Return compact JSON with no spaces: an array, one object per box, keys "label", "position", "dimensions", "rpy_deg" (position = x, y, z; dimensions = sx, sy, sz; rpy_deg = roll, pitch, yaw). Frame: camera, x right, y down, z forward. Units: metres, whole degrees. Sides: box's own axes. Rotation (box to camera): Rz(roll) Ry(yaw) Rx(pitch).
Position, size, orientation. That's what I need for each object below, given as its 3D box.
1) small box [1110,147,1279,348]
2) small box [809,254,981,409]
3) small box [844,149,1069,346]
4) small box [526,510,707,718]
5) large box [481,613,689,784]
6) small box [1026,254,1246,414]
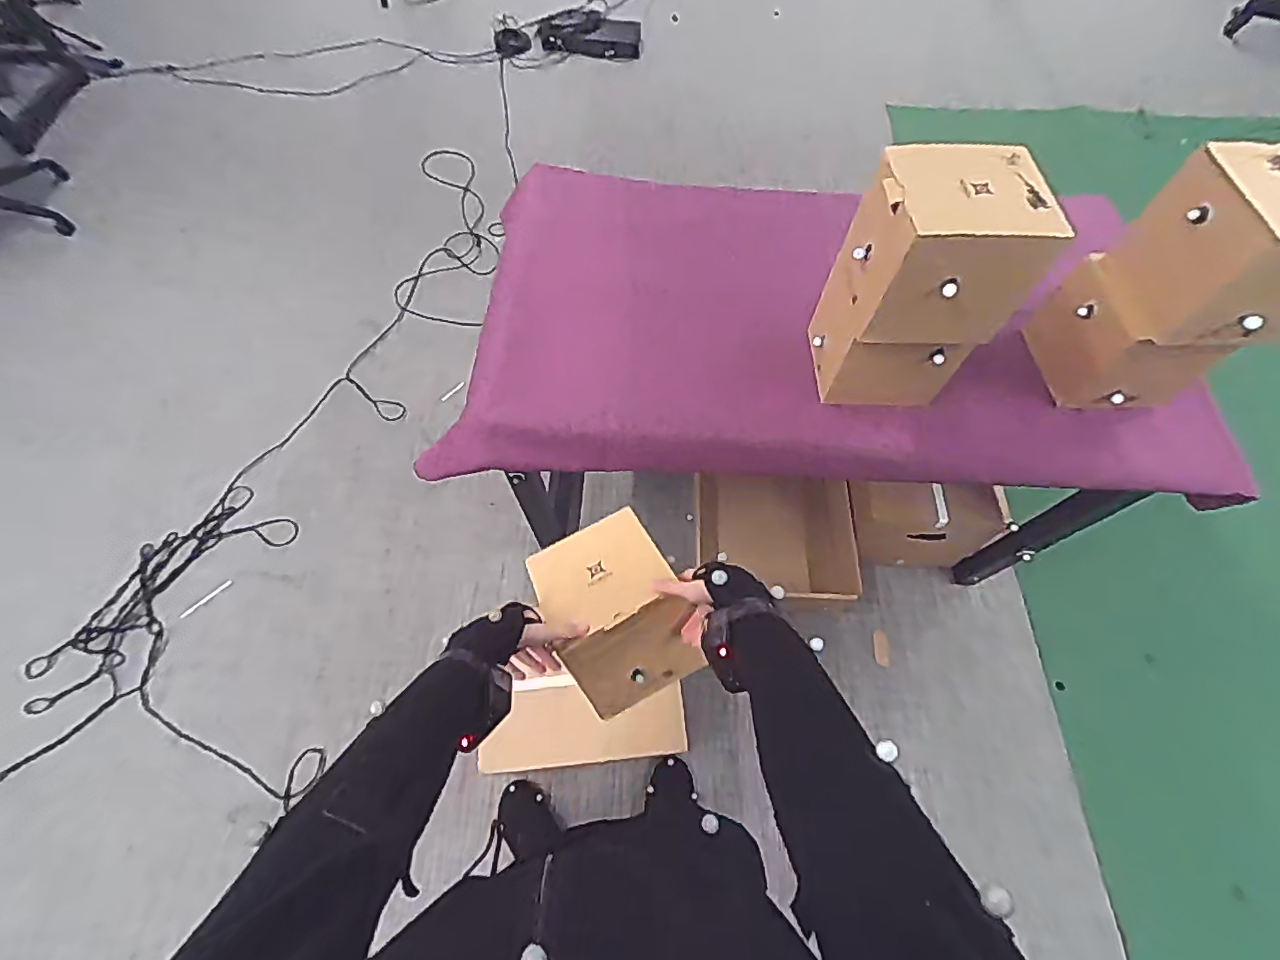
[{"label":"small box","position":[0.759,-0.289,0.682],"dimensions":[0.168,0.176,0.179],"rpy_deg":[-1,61,2]},{"label":"small box","position":[0.378,-0.223,0.835],"dimensions":[0.179,0.176,0.168],"rpy_deg":[1,61,1]},{"label":"small box","position":[0.372,-0.285,0.682],"dimensions":[0.179,0.176,0.168],"rpy_deg":[0,62,1]},{"label":"small box","position":[-0.031,0.179,0.730],"dimensions":[0.168,0.176,0.179],"rpy_deg":[-27,39,-8]},{"label":"large box","position":[-0.121,0.484,1.216],"dimensions":[0.408,0.320,0.320],"rpy_deg":[-5,62,-3]},{"label":"small box","position":[0.744,-0.222,0.832],"dimensions":[0.168,0.176,0.179],"rpy_deg":[-1,61,1]}]
